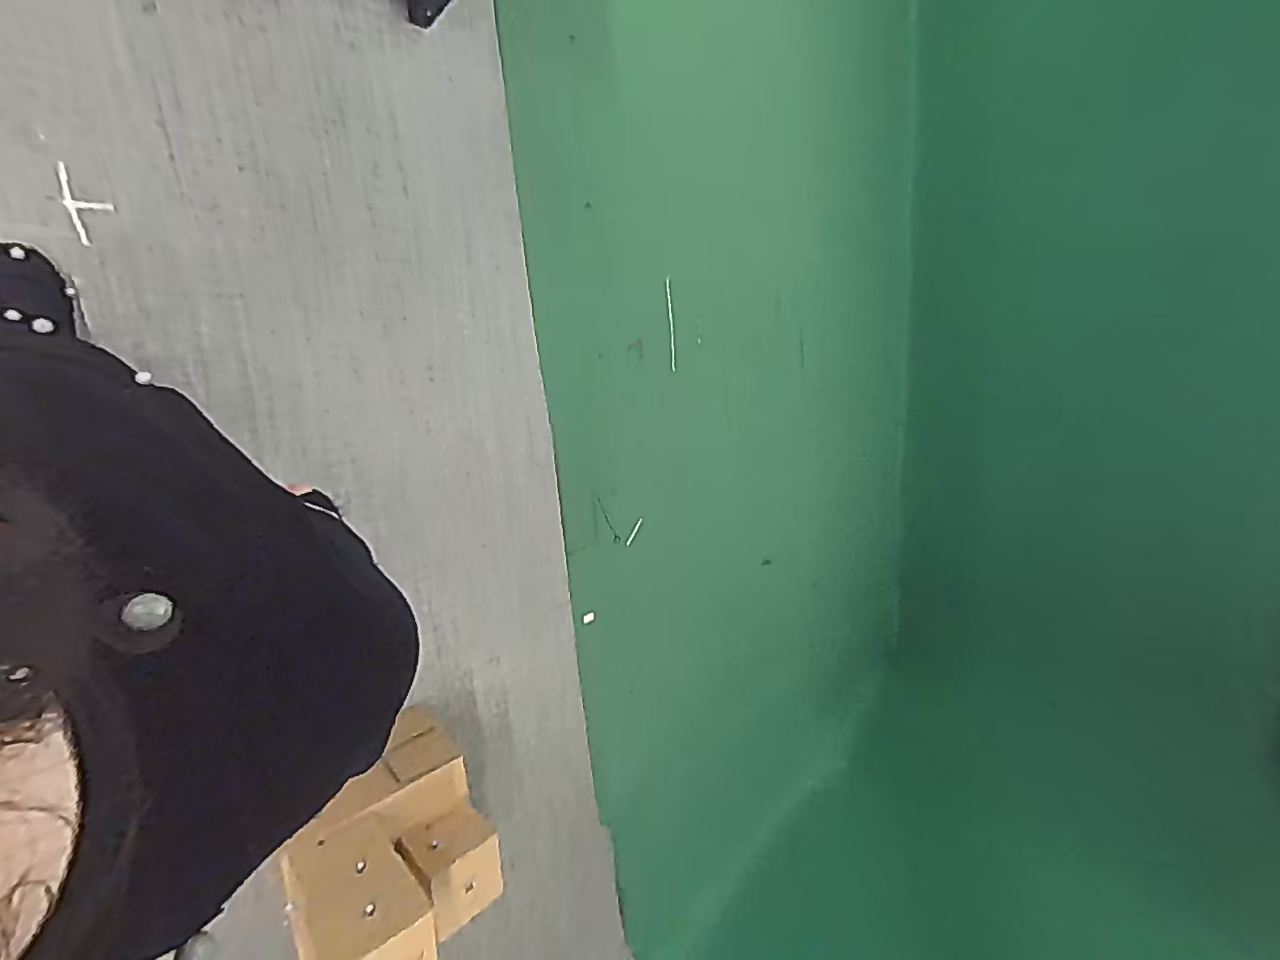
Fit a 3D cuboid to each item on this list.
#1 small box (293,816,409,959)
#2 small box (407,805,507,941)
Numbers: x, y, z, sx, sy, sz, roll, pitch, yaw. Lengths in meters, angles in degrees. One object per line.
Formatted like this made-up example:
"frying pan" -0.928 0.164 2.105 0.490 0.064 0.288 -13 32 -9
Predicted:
"small box" -0.596 0.848 1.115 0.168 0.176 0.179 -11 105 -43
"small box" -0.437 0.917 1.288 0.168 0.176 0.179 -14 108 -43
